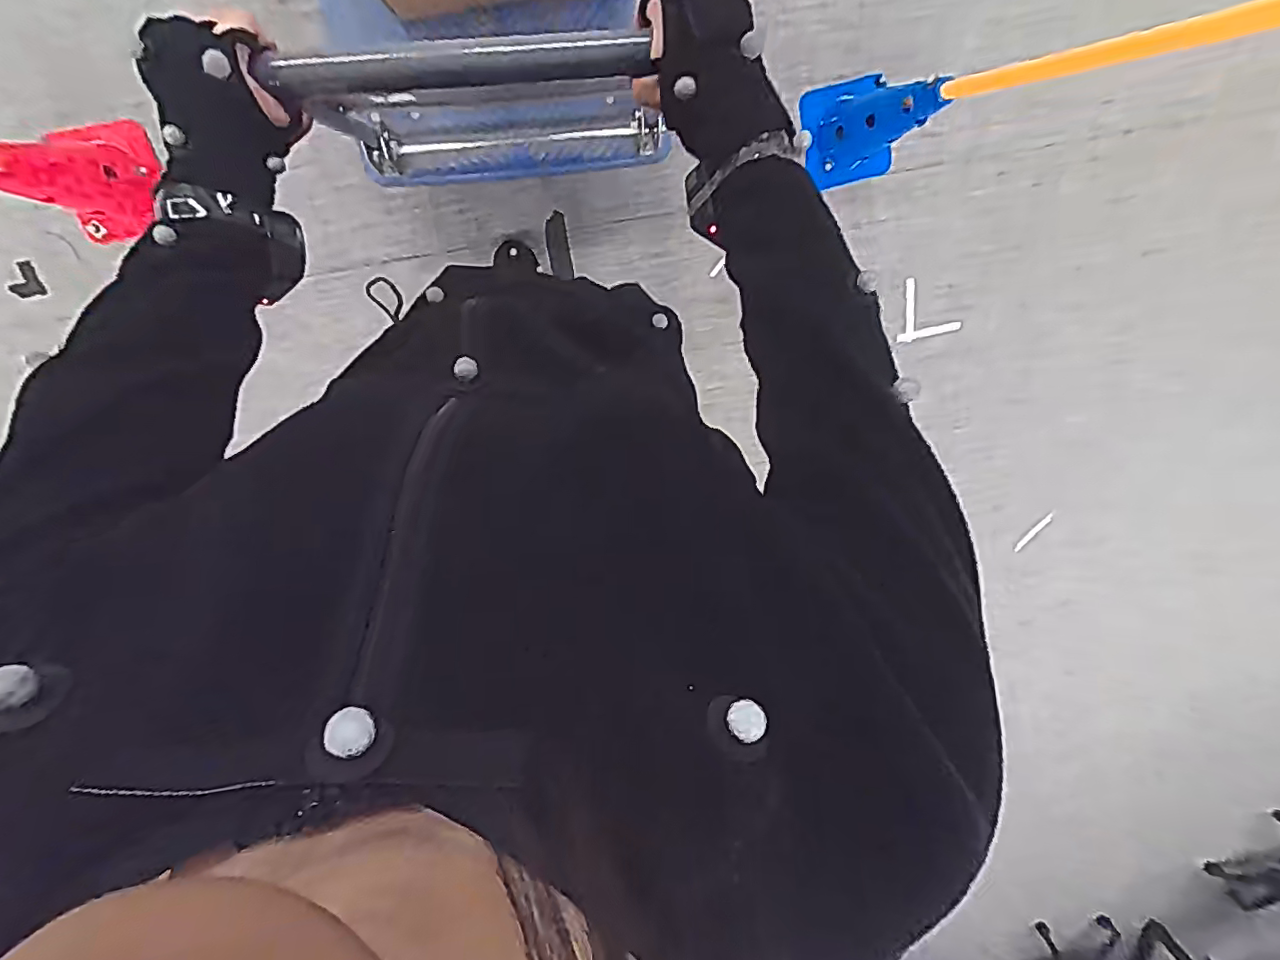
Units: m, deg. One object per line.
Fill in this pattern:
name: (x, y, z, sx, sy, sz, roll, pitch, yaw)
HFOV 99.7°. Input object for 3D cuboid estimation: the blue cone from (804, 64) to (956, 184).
blue cone: (0.488, -0.723, 1.065, 0.193, 0.380, 0.192, -14, 112, -1)
